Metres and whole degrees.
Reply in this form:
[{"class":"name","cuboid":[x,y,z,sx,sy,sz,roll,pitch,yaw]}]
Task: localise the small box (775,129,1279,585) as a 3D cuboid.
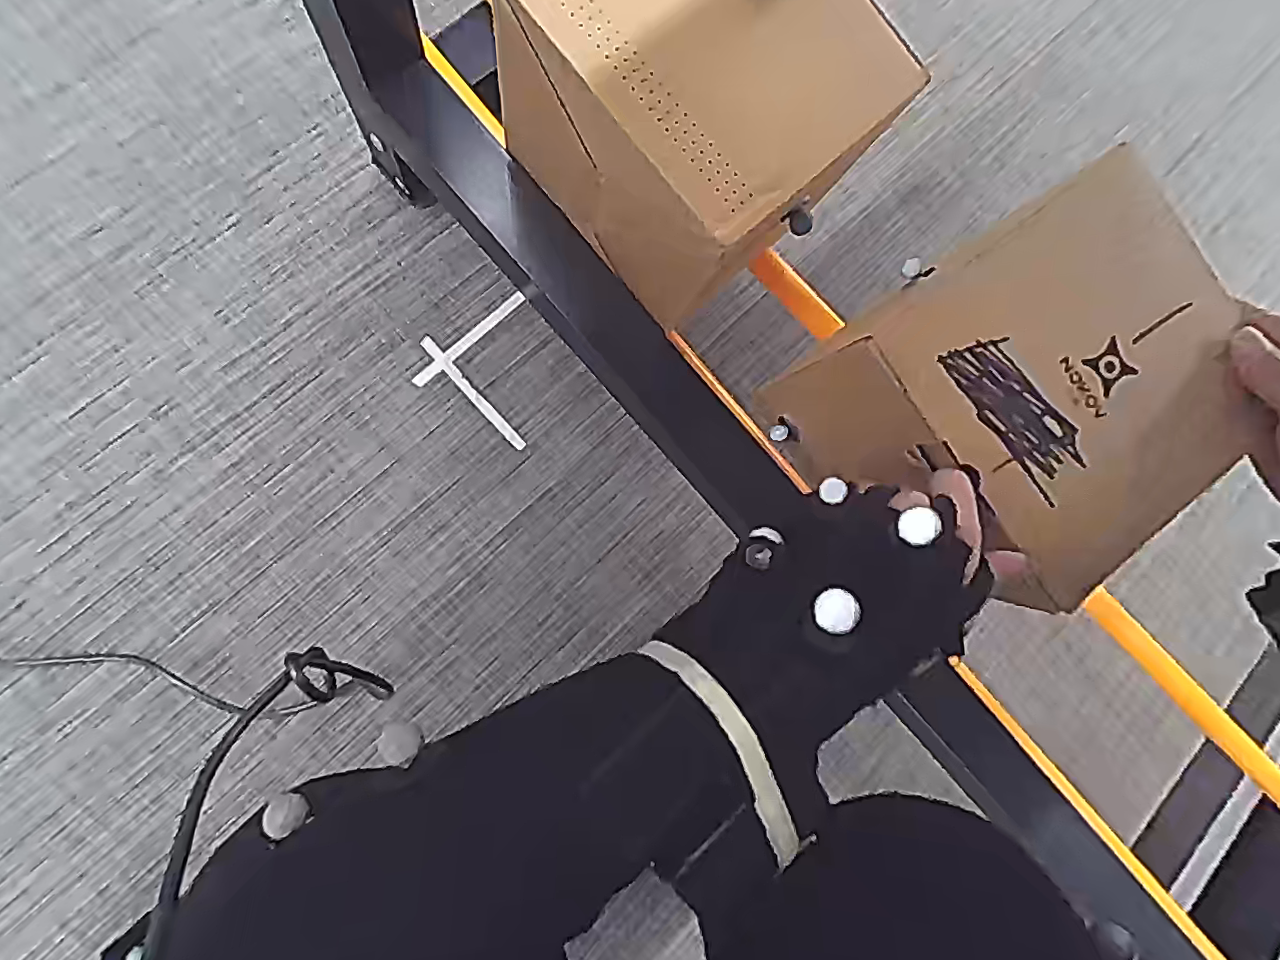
[{"class":"small box","cuboid":[0.210,-0.060,0.345,0.179,0.176,0.168,-37,95,-7]}]
